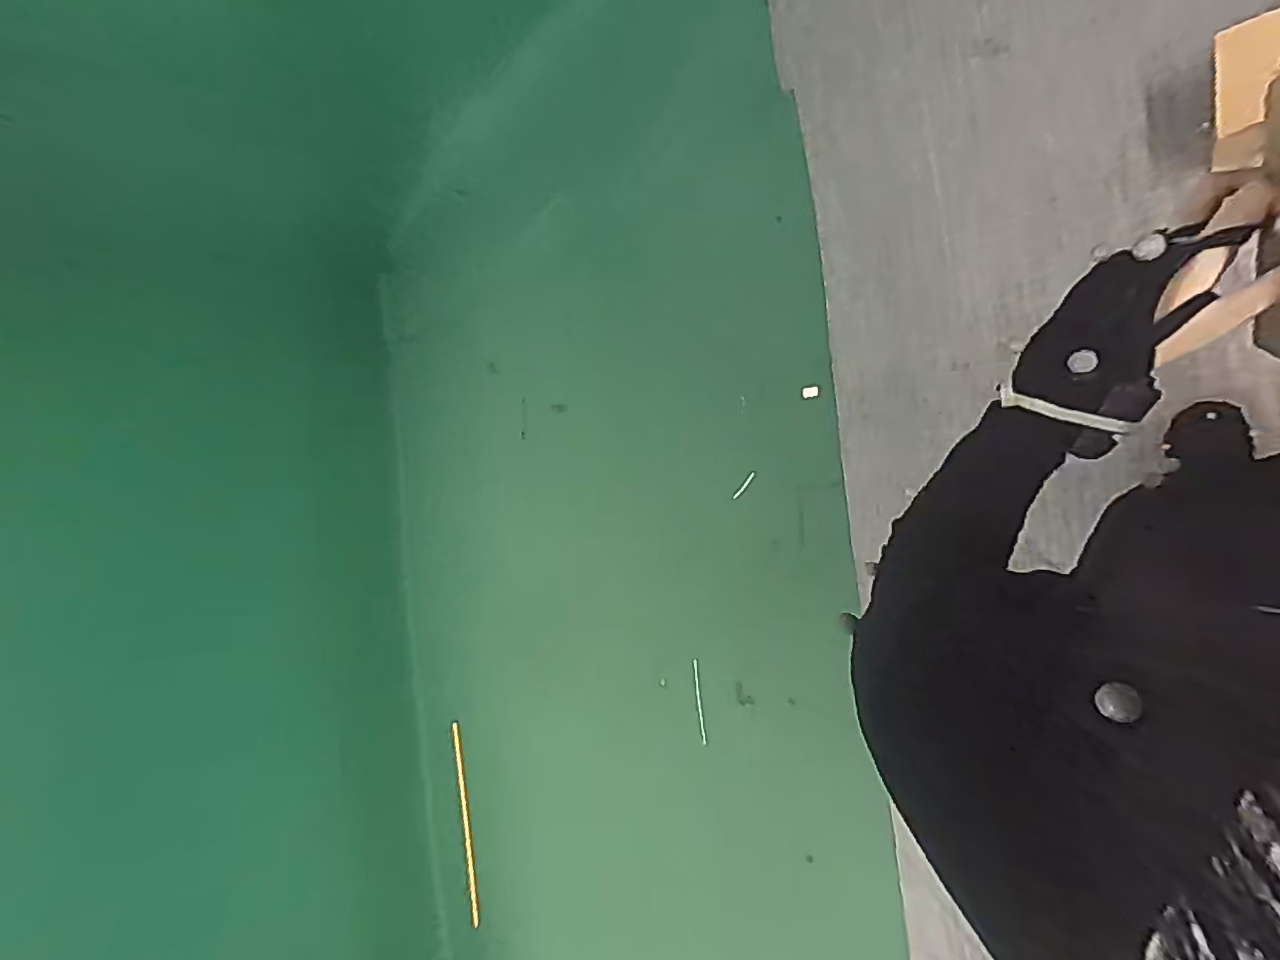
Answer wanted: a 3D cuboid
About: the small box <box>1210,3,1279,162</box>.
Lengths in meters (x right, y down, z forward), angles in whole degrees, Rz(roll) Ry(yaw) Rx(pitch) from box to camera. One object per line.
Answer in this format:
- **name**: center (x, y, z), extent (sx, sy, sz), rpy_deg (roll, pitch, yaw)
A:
- **small box**: center (1.097, -0.685, 0.919), extent (0.168, 0.176, 0.179), rpy_deg (-2, 92, 44)
